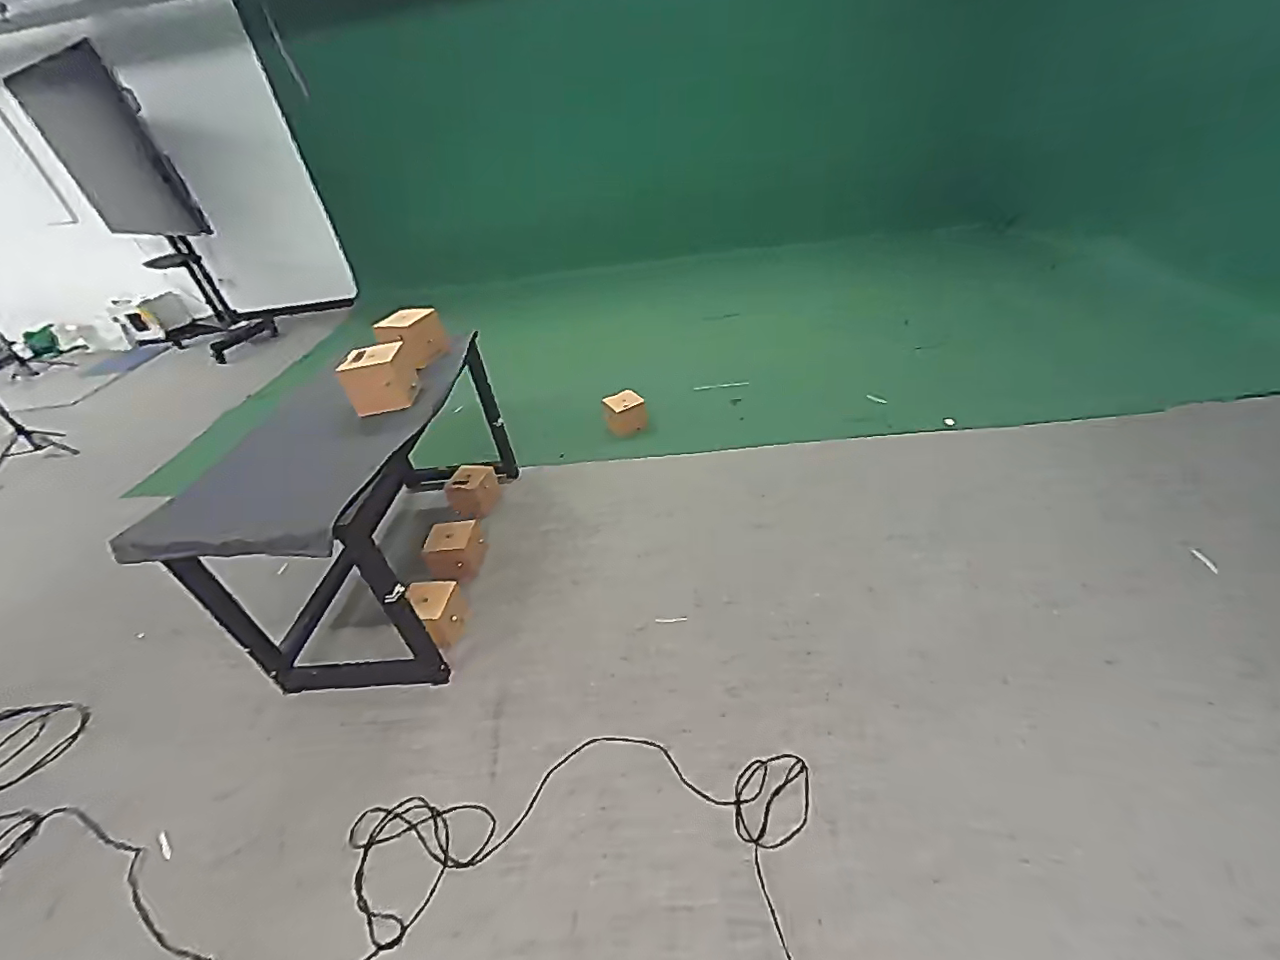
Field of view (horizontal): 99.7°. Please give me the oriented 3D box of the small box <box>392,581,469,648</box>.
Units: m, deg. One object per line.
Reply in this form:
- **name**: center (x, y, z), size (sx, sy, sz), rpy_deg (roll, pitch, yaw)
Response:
- **small box**: center (-0.732, 0.478, 1.914), size (0.179, 0.176, 0.168), rpy_deg (-2, 38, 9)

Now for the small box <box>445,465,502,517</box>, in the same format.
- **small box**: center (-0.756, 0.050, 2.477), size (0.168, 0.176, 0.179), rpy_deg (4, 37, 15)

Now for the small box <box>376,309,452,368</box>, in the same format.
- **small box**: center (-0.849, -0.537, 2.051), size (0.179, 0.176, 0.168), rpy_deg (7, 40, 24)

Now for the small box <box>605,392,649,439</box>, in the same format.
- **small box**: center (-0.067, -0.339, 2.856), size (0.168, 0.176, 0.179), rpy_deg (-24, 39, -20)

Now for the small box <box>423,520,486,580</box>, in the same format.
- **small box**: center (-0.734, 0.284, 2.167), size (0.179, 0.176, 0.168), rpy_deg (-7, 36, 4)
